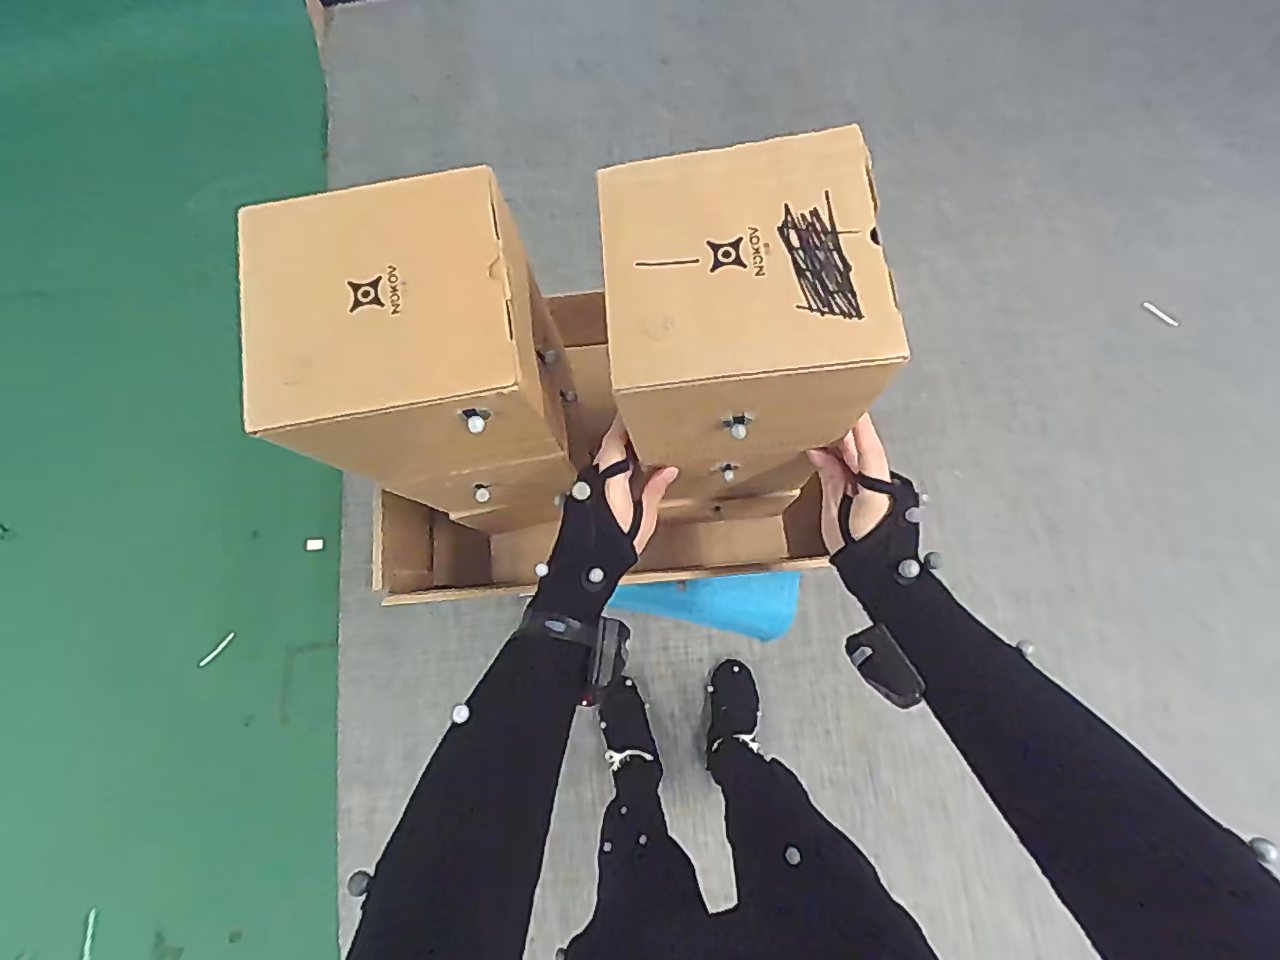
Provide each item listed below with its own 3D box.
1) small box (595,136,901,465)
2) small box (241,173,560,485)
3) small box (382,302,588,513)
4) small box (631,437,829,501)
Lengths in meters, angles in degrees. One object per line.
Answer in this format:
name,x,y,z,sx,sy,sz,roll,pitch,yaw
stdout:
small box,0.069,-0.116,0.414,0.179,0.176,0.168,-6,75,5
small box,-0.173,-0.101,0.432,0.179,0.176,0.168,-10,77,-2
small box,-0.163,-0.066,0.592,0.179,0.176,0.168,-10,78,0
small box,0.084,-0.078,0.572,0.179,0.176,0.168,-5,75,4
